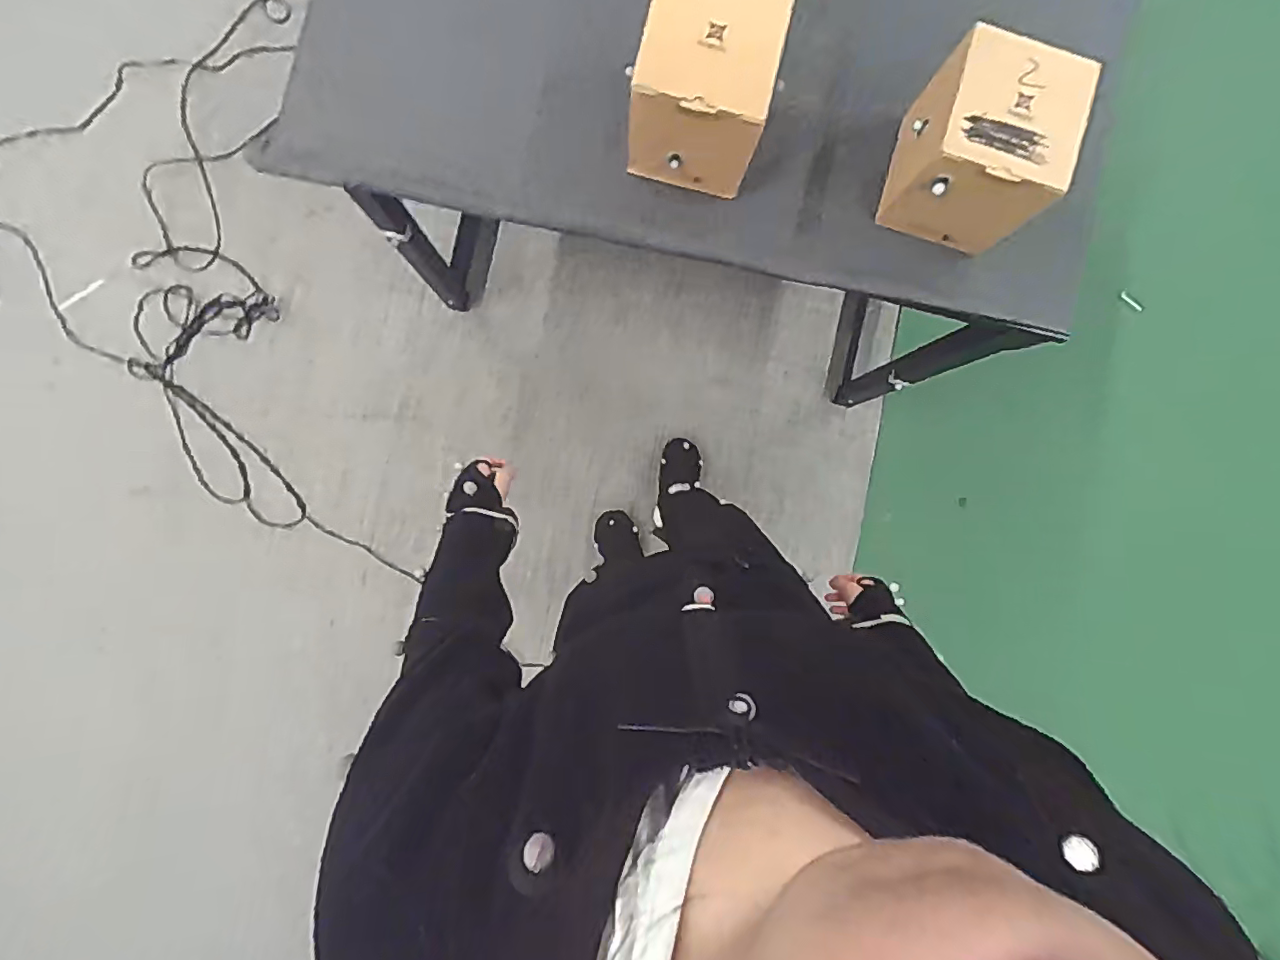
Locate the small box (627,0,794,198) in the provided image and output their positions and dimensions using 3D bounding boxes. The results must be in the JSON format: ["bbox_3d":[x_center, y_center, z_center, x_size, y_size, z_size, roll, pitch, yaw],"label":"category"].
[{"bbox_3d":[0.080,-0.516,0.714,0.168,0.176,0.179,13,87,-4],"label":"small box"}]
